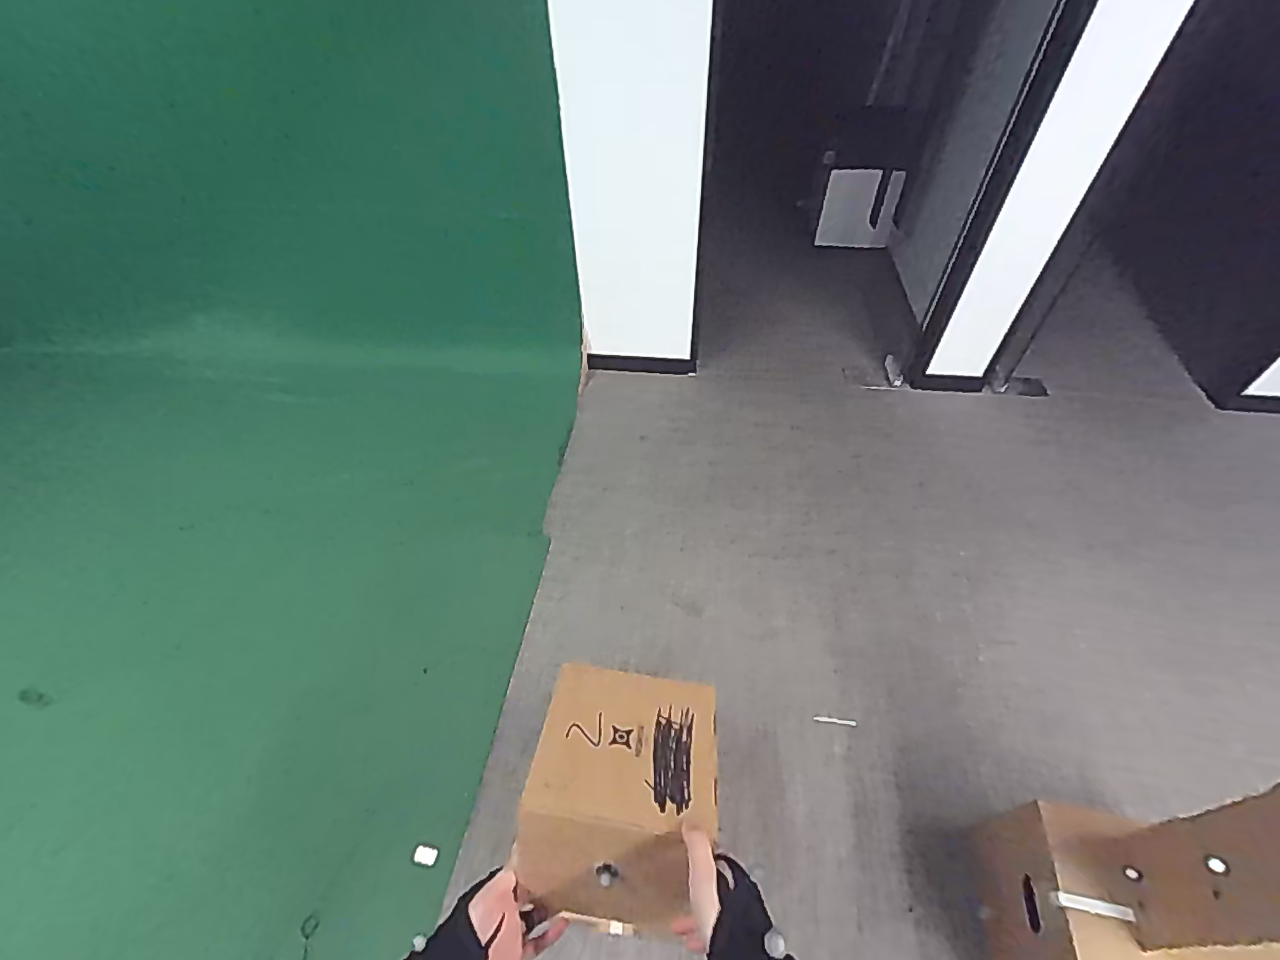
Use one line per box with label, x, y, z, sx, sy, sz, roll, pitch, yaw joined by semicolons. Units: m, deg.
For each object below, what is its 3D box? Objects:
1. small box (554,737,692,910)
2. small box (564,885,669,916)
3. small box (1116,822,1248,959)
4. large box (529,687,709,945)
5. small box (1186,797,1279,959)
small box;-0.016;0.505;0.791;0.168;0.176;0.179;6;48;6
small box;-0.021;0.614;0.916;0.168;0.176;0.179;6;47;6
small box;0.914;0.670;0.846;0.179;0.176;0.168;12;47;12
large box;-0.019;0.712;1.155;0.320;0.320;0.408;4;47;5
small box;0.914;0.560;0.724;0.179;0.176;0.168;12;47;13
